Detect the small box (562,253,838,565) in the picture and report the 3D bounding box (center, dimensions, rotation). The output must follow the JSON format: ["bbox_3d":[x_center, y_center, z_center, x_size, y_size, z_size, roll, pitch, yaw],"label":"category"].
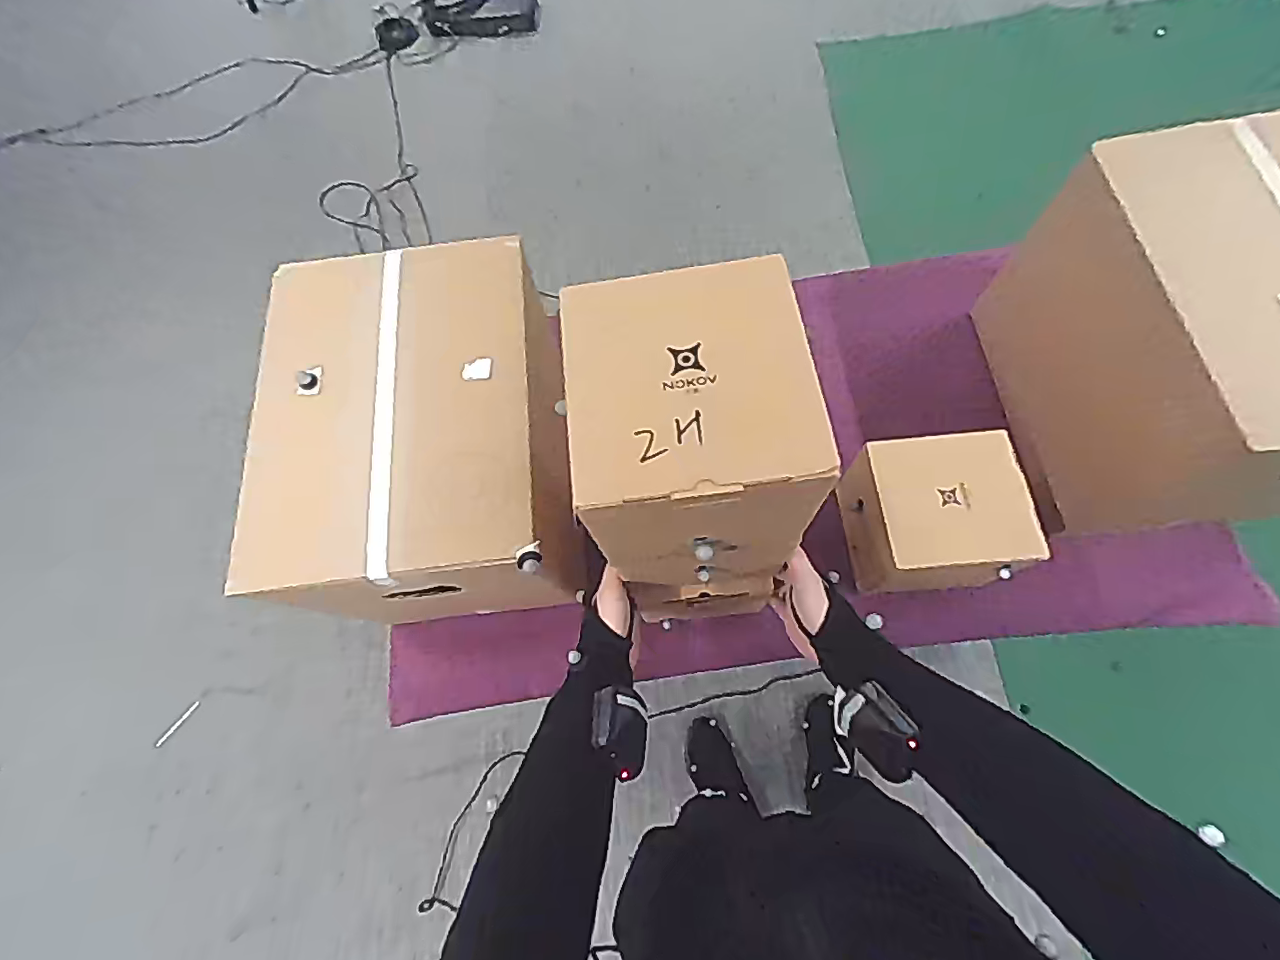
[{"bbox_3d":[0.037,-0.043,0.430,0.168,0.176,0.179,-8,68,3],"label":"small box"}]

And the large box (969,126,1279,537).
[{"bbox_3d":[0.705,-0.167,0.699,0.320,0.320,0.408,-6,70,4],"label":"large box"}]

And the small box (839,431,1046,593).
[{"bbox_3d":[0.378,0.051,0.720,0.179,0.176,0.168,-5,68,3],"label":"small box"}]

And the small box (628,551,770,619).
[{"bbox_3d":[0.071,0.088,0.731,0.168,0.176,0.179,-7,67,2],"label":"small box"}]
